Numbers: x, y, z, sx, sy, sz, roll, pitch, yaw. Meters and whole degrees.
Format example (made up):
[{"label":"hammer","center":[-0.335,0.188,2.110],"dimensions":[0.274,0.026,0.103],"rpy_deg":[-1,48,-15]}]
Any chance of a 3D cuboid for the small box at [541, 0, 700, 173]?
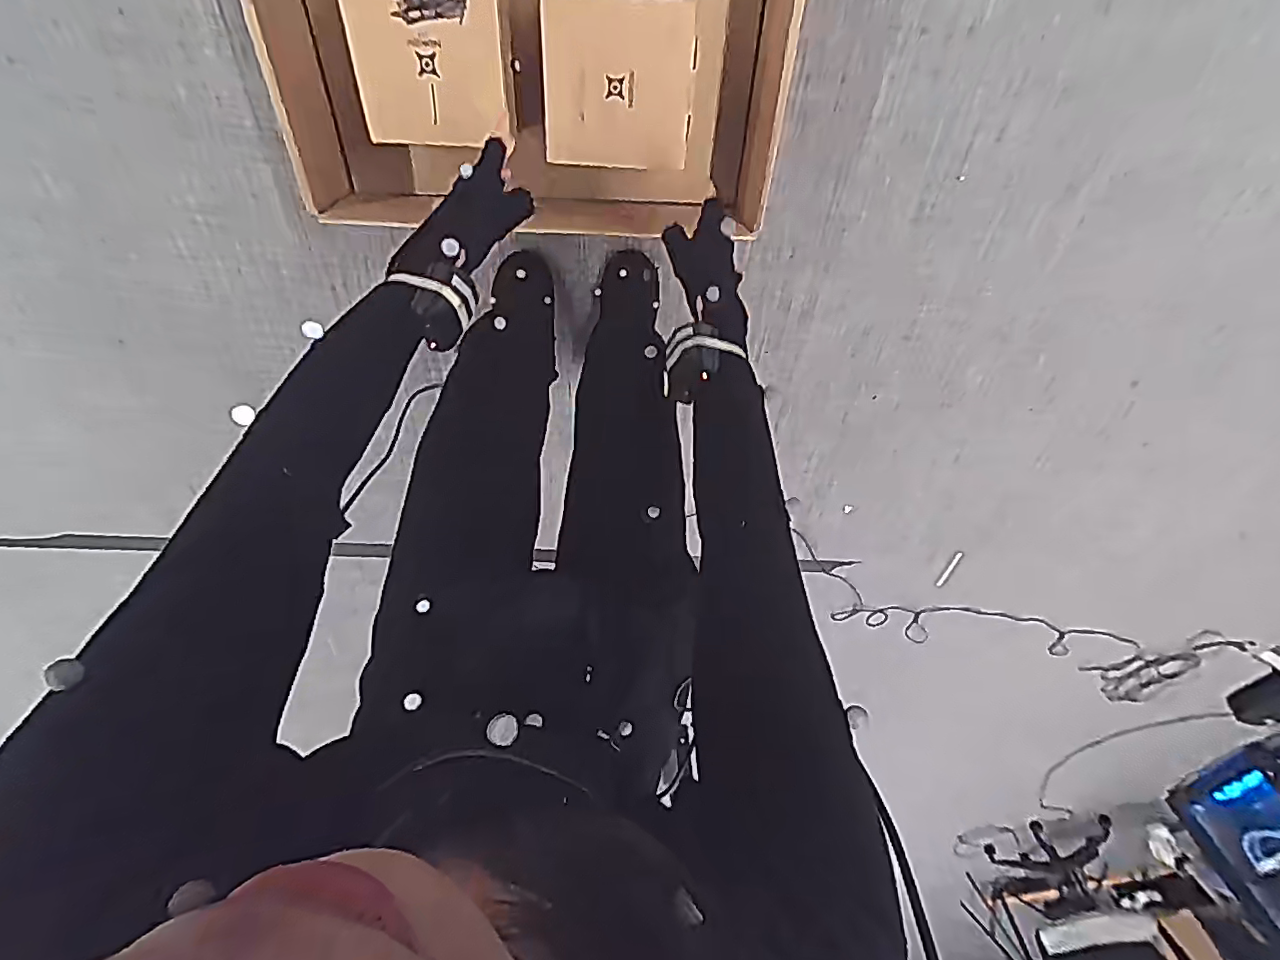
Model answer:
[{"label":"small box","center":[-0.027,-0.506,0.694],"dimensions":[0.179,0.176,0.168],"rpy_deg":[2,128,-2]}]
